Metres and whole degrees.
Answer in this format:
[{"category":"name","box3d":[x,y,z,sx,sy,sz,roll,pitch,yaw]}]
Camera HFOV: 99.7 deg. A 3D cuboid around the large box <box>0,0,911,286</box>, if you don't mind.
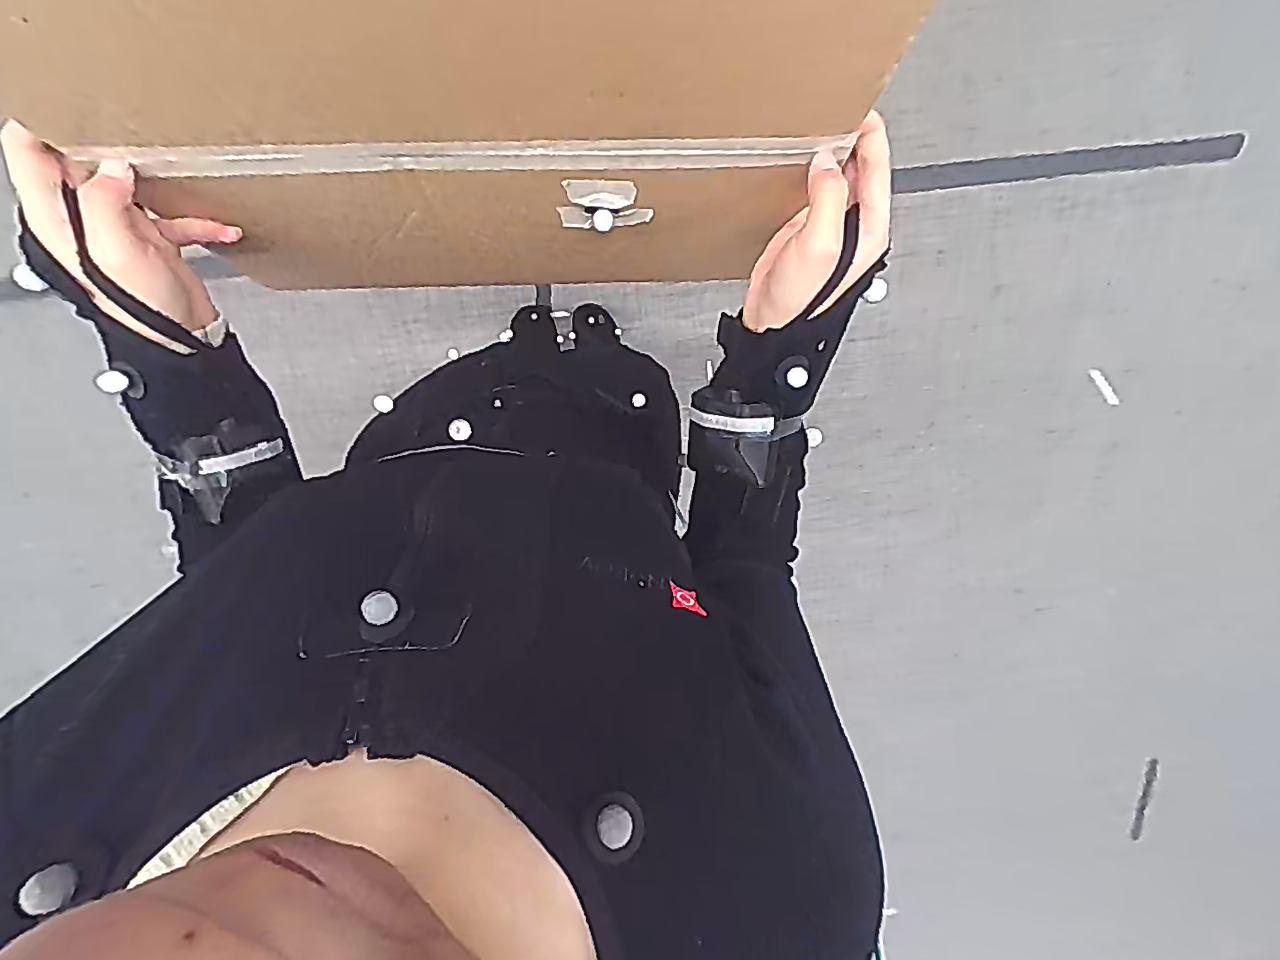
[{"category":"large box","box3d":[-0.097,-0.330,0.303,0.408,0.320,0.320,-3,85,-2]}]
